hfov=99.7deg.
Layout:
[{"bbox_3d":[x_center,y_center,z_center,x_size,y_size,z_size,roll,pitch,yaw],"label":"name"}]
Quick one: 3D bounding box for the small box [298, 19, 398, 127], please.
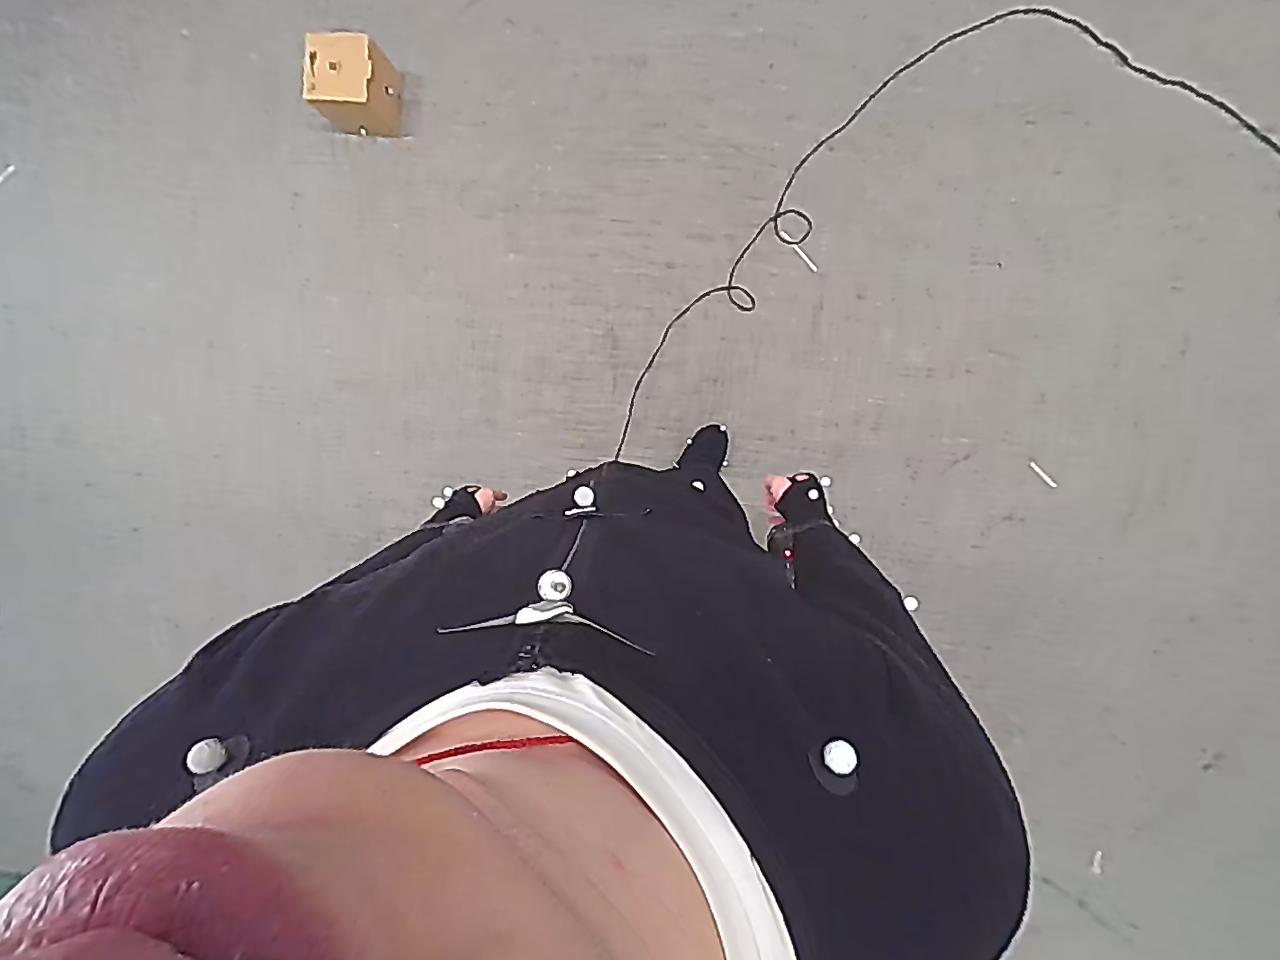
[{"bbox_3d":[-0.774,-1.079,1.447,0.179,0.176,0.168,7,95,4],"label":"small box"}]
